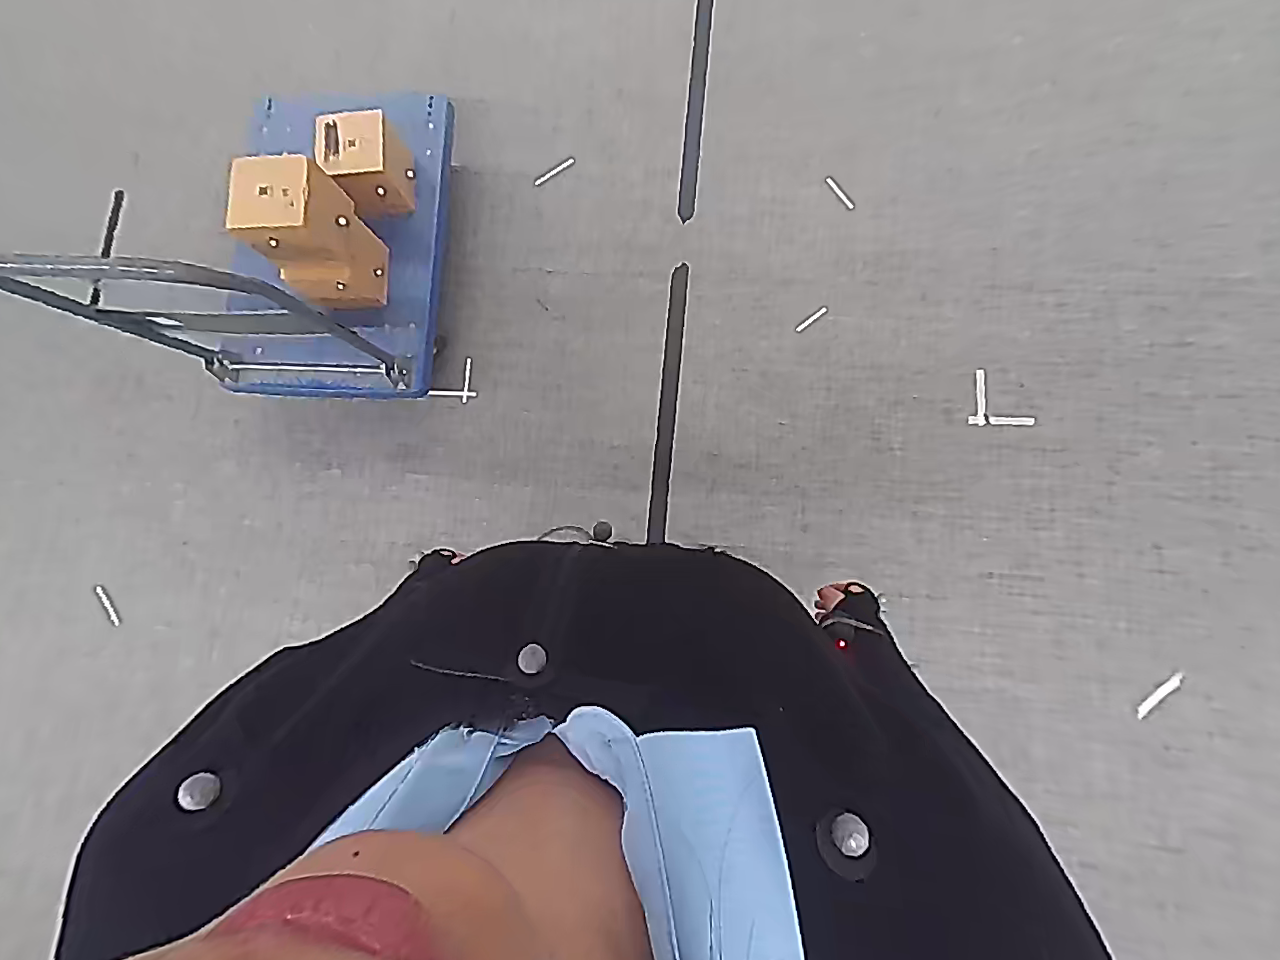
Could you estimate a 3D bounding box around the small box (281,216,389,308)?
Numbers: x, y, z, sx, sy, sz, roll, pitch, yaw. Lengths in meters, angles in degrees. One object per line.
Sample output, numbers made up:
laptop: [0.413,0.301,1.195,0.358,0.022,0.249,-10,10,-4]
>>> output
small box: [-0.774,-0.552,1.384,0.179,0.176,0.168,-1,83,3]

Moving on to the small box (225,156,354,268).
small box: [-0.784,-0.597,1.224,0.179,0.176,0.168,0,83,3]
